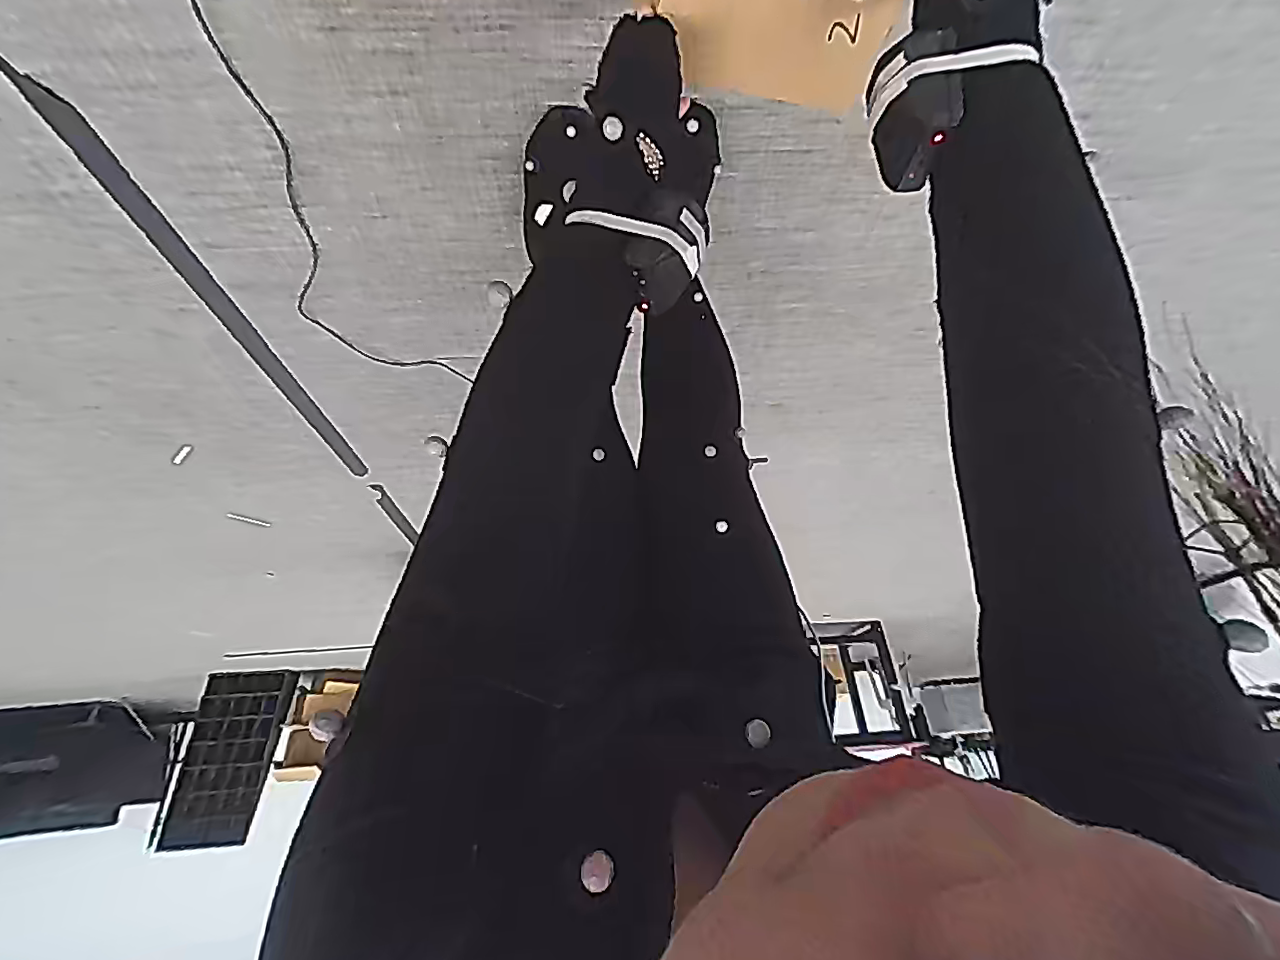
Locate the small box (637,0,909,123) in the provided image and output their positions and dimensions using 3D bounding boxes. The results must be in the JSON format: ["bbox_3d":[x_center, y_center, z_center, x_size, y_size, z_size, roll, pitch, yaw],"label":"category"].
[{"bbox_3d":[0.097,-0.407,0.400,0.179,0.176,0.168,1,150,-12],"label":"small box"}]
